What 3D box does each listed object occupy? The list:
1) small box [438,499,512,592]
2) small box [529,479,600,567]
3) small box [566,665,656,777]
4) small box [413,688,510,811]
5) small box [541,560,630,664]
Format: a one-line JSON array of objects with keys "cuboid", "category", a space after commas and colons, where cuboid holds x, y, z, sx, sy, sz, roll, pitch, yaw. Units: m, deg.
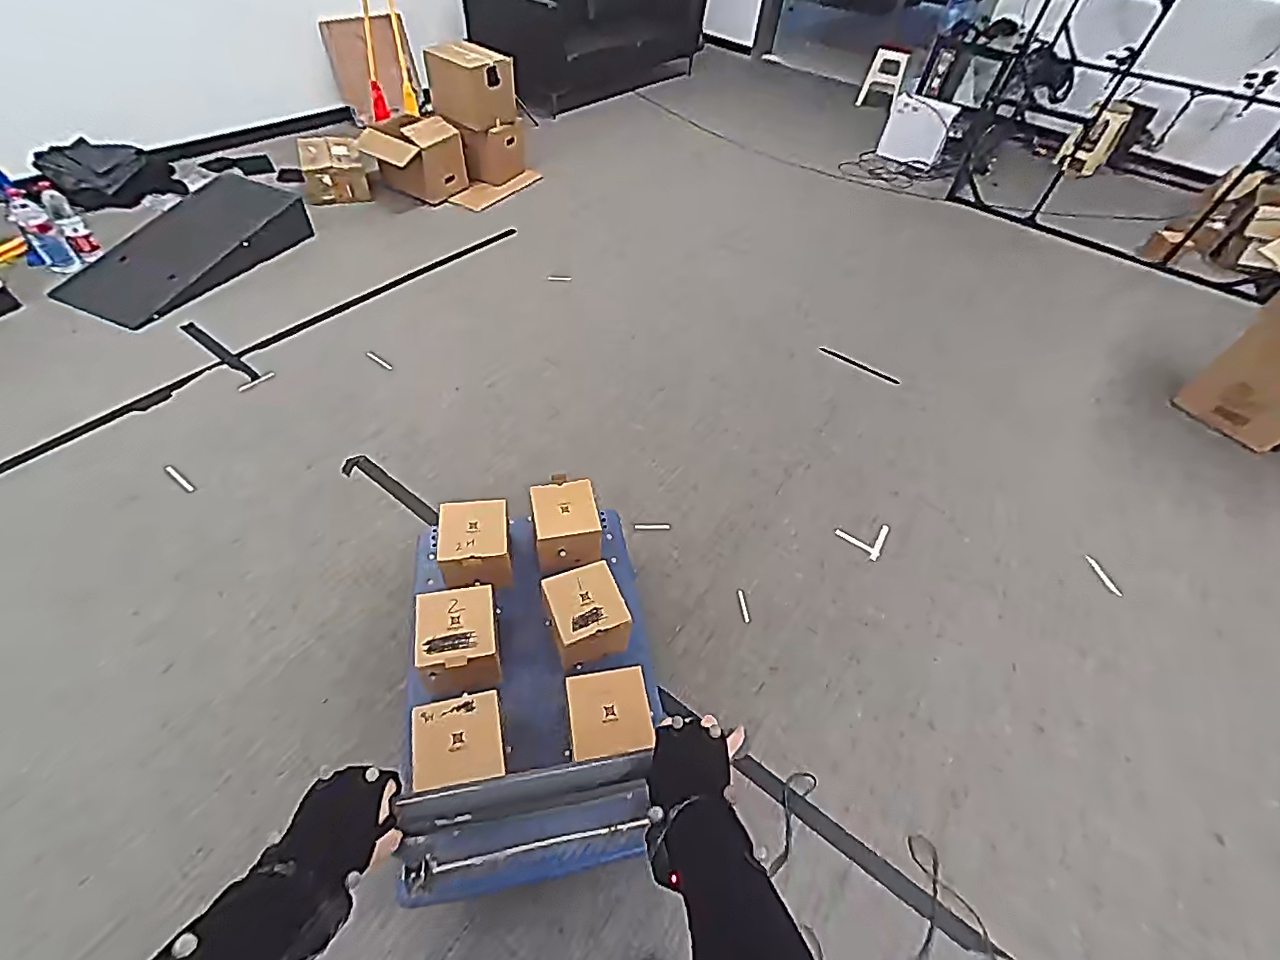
[{"cuboid": [-0.427, 0.172, 1.415, 0.168, 0.176, 0.179, -4, 51, -11], "category": "small box"}, {"cuboid": [-0.208, 0.125, 1.489, 0.168, 0.176, 0.179, -8, 51, -14], "category": "small box"}, {"cuboid": [-0.070, 0.525, 1.169, 0.168, 0.176, 0.179, -4, 50, -12], "category": "small box"}, {"cuboid": [-0.359, 0.553, 1.100, 0.168, 0.176, 0.179, -7, 52, -15], "category": "small box"}, {"cuboid": [-0.136, 0.330, 1.324, 0.168, 0.176, 0.179, -15, 53, -20], "category": "small box"}]
